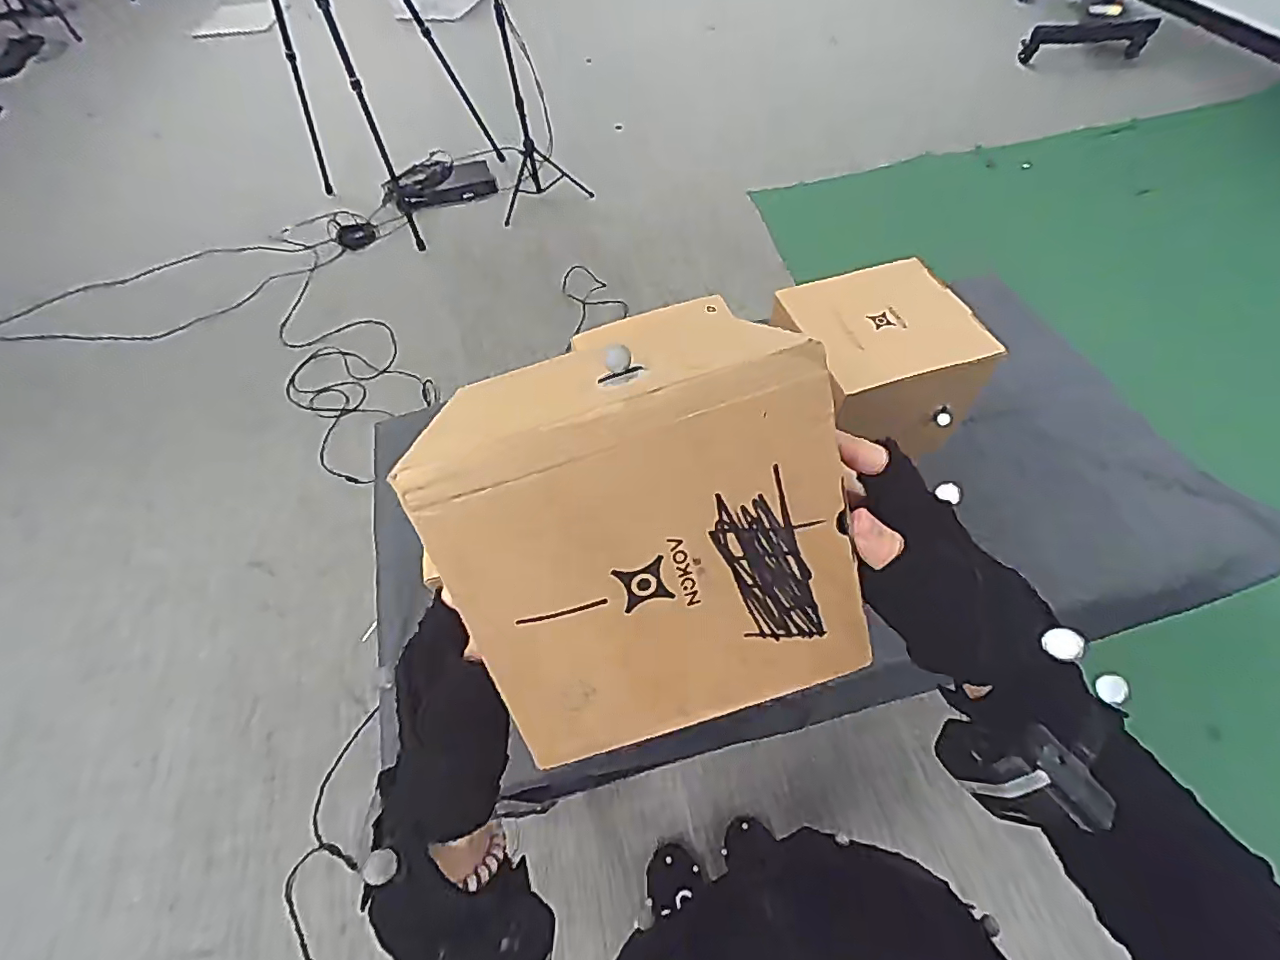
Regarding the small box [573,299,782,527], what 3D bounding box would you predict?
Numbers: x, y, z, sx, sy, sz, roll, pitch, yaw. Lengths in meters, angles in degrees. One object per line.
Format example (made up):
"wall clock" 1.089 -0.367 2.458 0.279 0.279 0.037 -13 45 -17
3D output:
"small box" 0.040 -0.069 0.620 0.179 0.176 0.168 -19 59 -7
